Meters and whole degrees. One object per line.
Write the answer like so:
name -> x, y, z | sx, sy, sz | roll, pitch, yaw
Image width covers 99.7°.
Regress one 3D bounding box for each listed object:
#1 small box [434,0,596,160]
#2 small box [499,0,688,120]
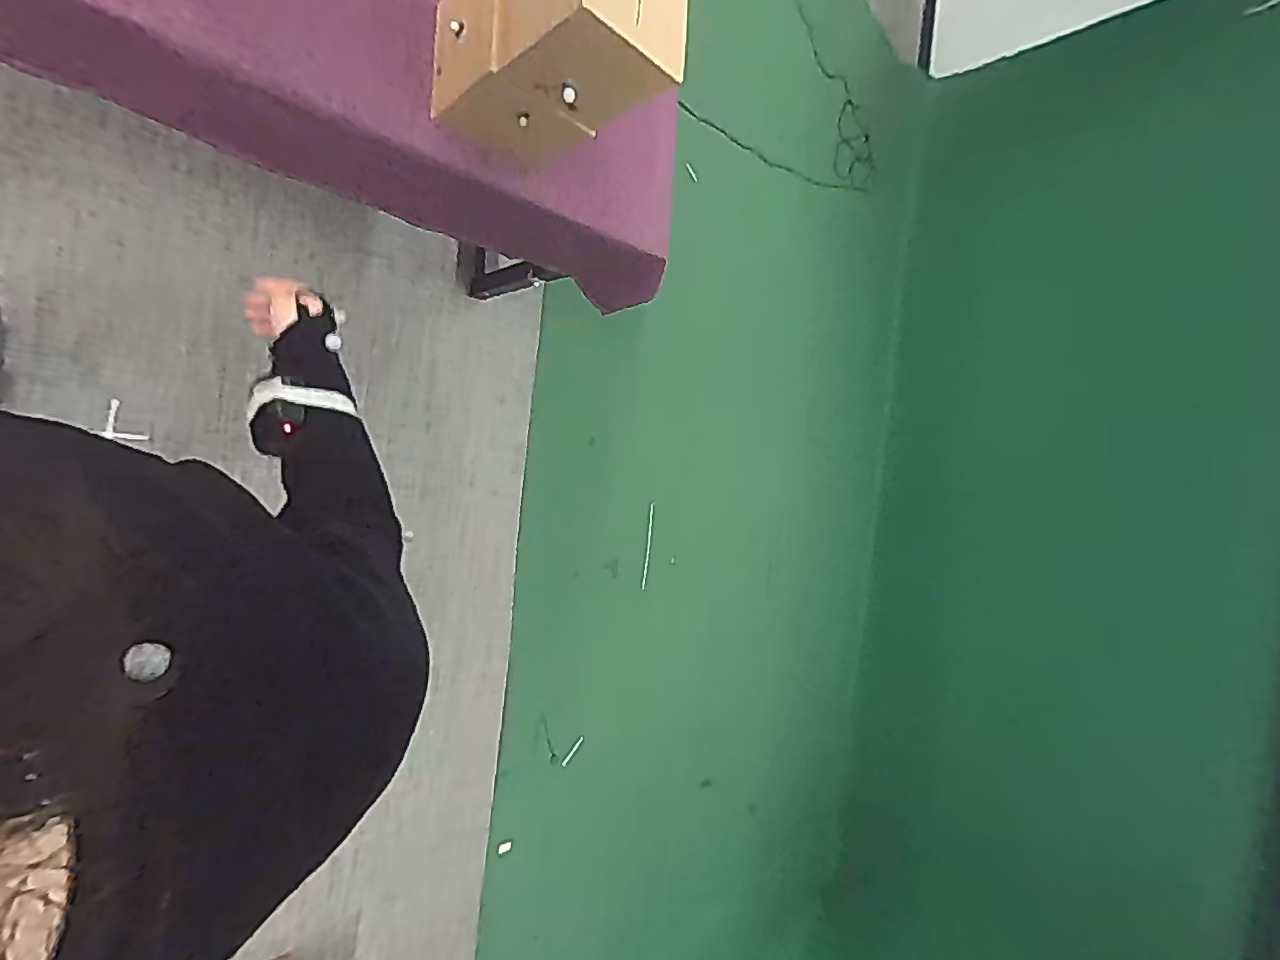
small box -> -0.175, -0.594, 0.771 | 0.179, 0.176, 0.168 | 2, 94, -46
small box -> -0.057, -0.588, 0.656 | 0.168, 0.176, 0.179 | -1, 96, -45
